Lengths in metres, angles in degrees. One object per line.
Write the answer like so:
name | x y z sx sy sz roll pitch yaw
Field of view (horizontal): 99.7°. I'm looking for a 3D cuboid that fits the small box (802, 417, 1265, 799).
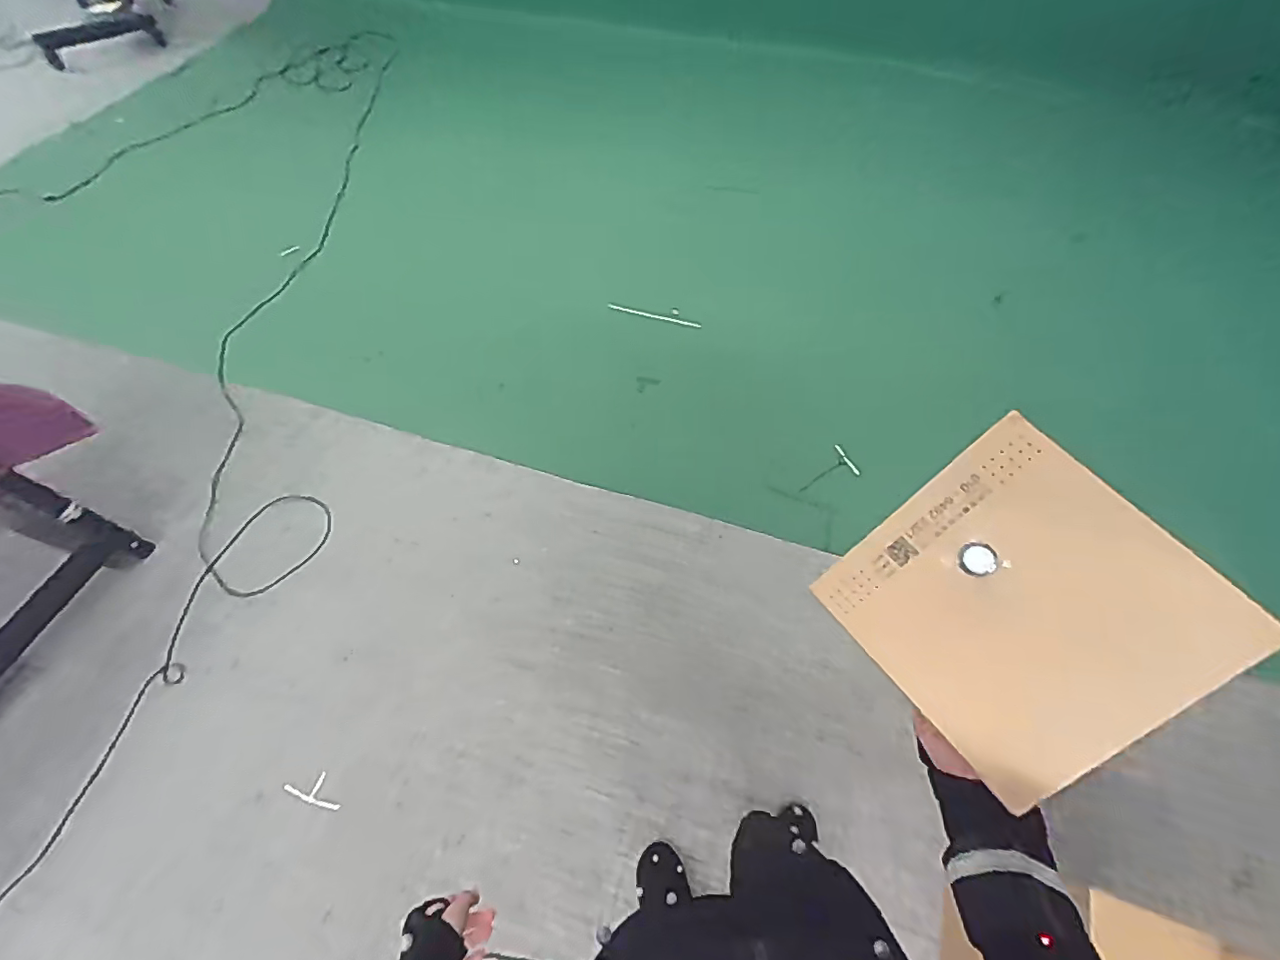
small box | 0.244 0.075 0.392 0.168 0.179 0.176 -47 68 14
